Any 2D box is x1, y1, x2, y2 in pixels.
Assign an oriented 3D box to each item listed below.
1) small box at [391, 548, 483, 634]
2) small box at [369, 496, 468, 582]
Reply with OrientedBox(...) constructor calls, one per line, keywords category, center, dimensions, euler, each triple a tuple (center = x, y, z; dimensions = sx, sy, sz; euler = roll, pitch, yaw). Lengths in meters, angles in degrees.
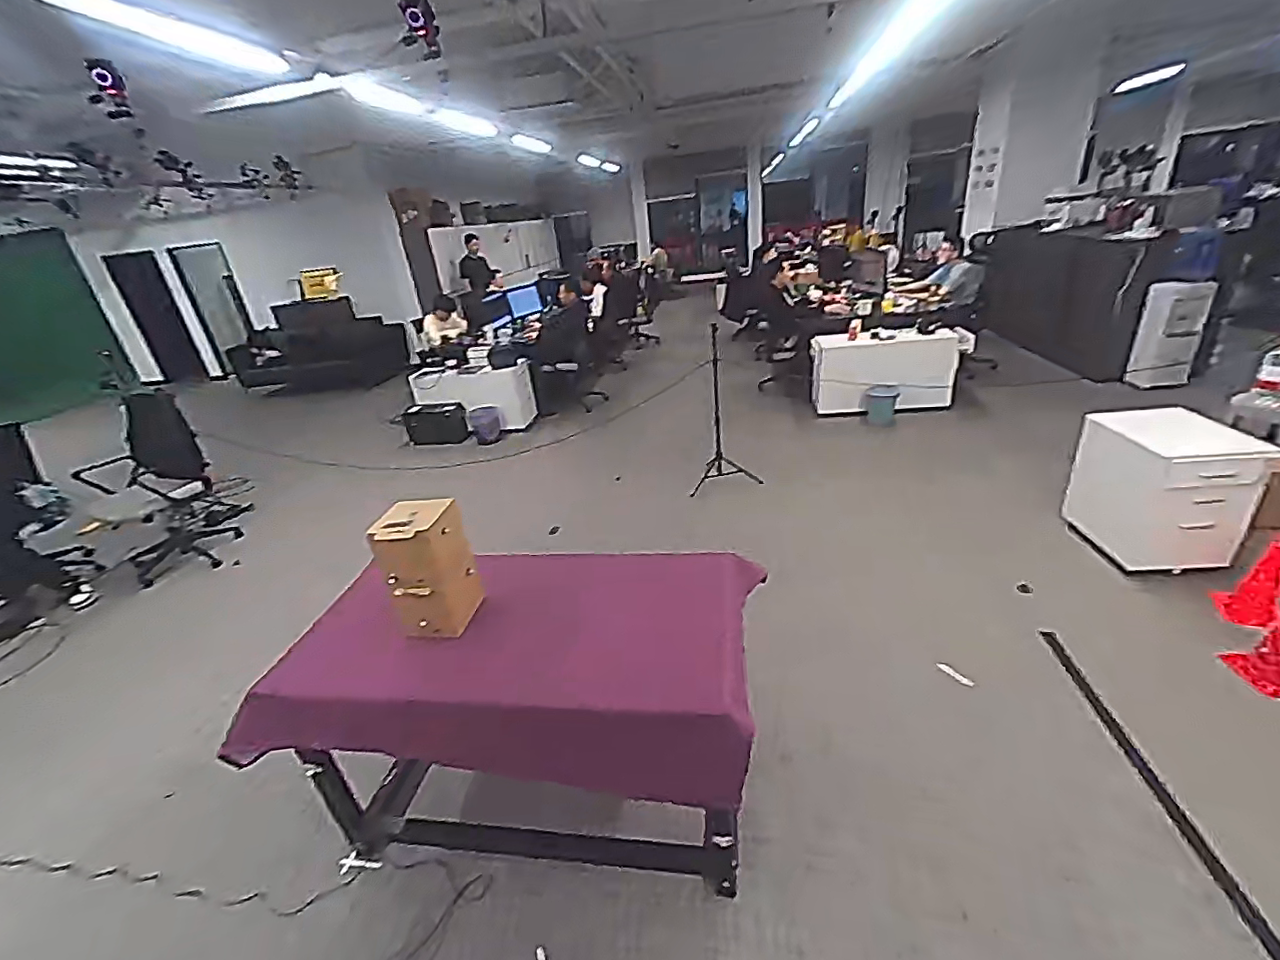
OrientedBox(category="small box", center=(-0.558, 0.308, 1.514), dimensions=(0.168, 0.176, 0.179), euler=(-2, 27, 11))
OrientedBox(category="small box", center=(-0.578, 0.161, 1.443), dimensions=(0.168, 0.176, 0.179), euler=(-4, 26, 7))
